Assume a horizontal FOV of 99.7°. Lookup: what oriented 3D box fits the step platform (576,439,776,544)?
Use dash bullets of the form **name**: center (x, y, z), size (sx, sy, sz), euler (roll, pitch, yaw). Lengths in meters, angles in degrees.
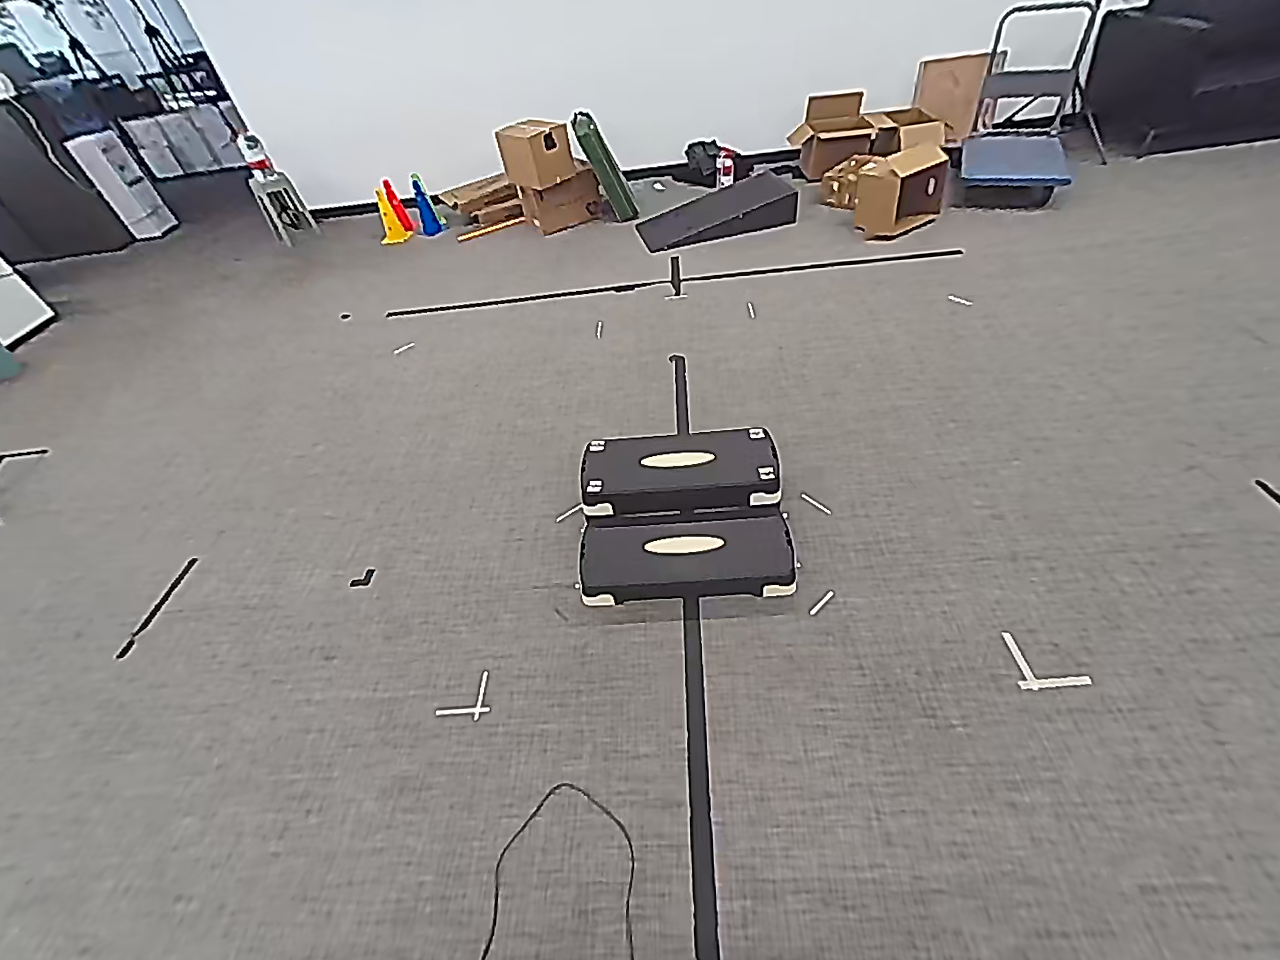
- **step platform**: center (0.120, 0.034, 1.883), size (0.684, 0.204, 0.286), euler (-4, 45, 4)
